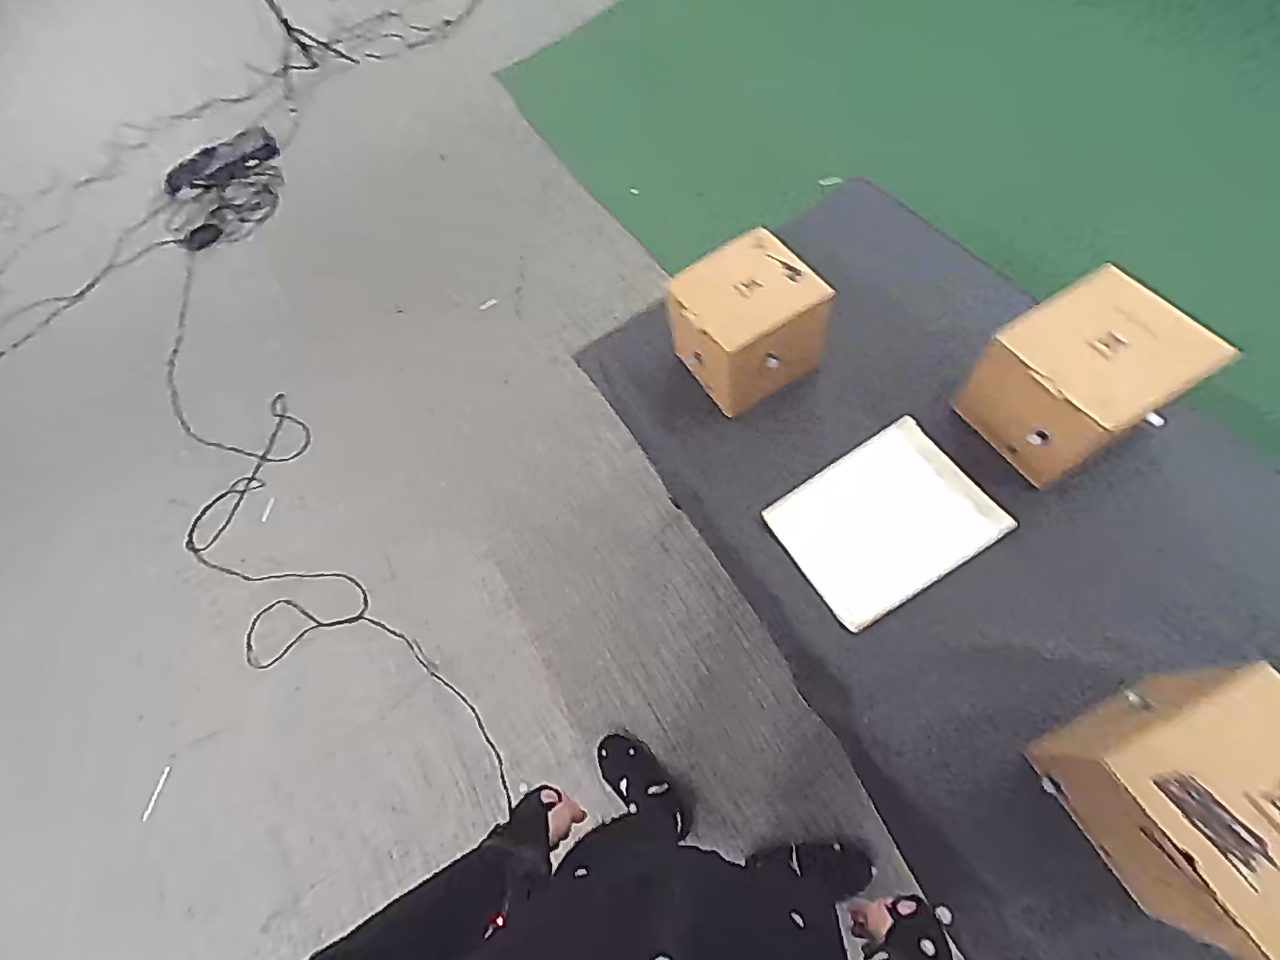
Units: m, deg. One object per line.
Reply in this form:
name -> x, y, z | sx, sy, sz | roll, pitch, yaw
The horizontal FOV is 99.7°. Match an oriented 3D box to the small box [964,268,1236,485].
small box -> 0.551, -0.121, 0.687 | 0.179, 0.176, 0.168 | -31, 65, -3

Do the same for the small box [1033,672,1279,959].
small box -> 0.526, 0.308, 0.519 | 0.179, 0.176, 0.168 | -29, 64, -2

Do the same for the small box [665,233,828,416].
small box -> 0.162, -0.230, 0.835 | 0.179, 0.176, 0.168 | -31, 64, -3
